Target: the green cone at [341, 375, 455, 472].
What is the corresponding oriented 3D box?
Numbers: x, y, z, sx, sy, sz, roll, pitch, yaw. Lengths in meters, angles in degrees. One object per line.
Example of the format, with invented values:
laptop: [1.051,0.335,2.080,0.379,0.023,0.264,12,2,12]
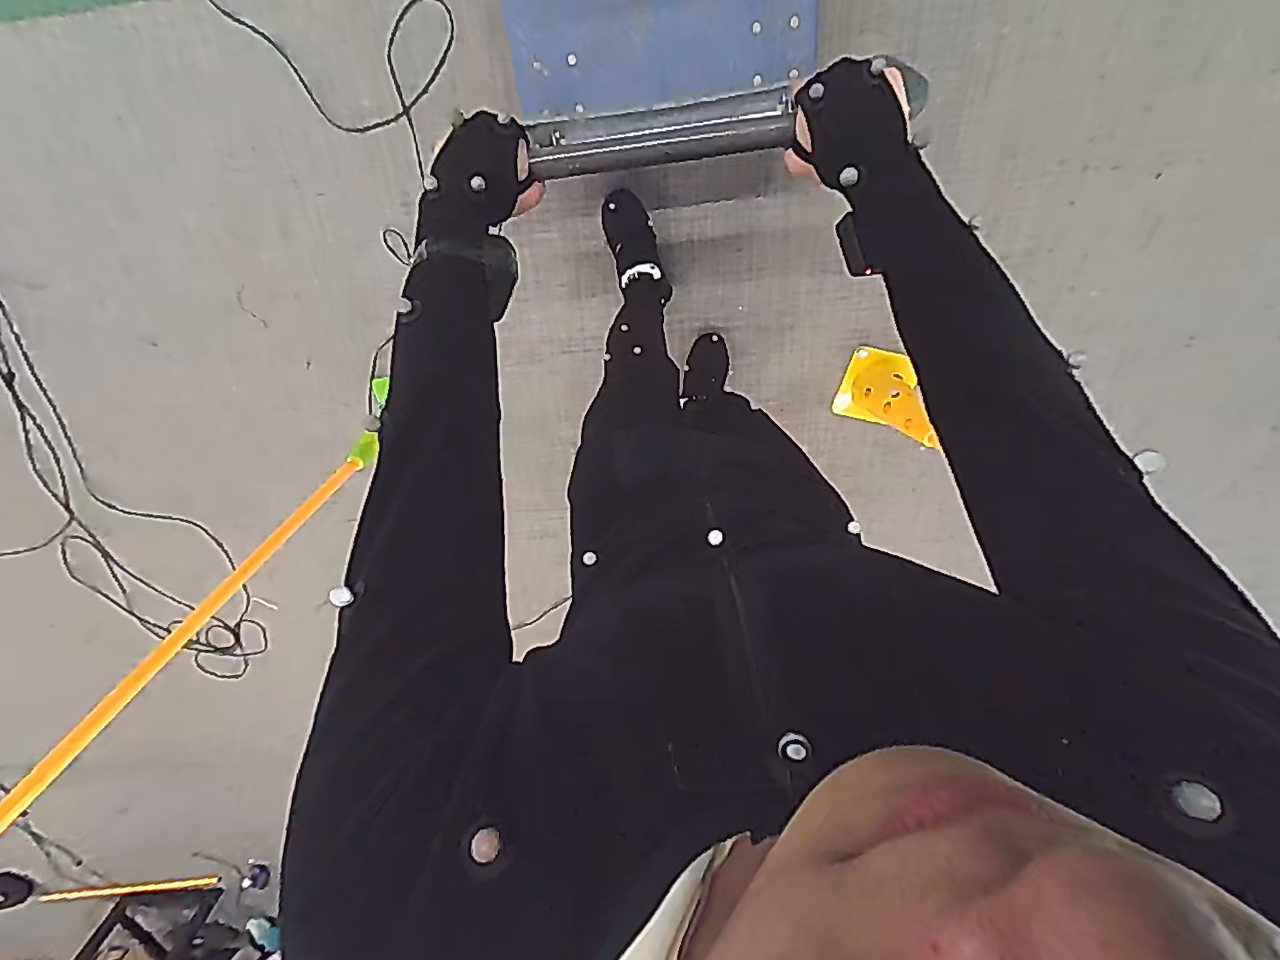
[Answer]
green cone: [-0.673,-0.125,1.437,0.202,0.368,0.200,-6,118,8]
